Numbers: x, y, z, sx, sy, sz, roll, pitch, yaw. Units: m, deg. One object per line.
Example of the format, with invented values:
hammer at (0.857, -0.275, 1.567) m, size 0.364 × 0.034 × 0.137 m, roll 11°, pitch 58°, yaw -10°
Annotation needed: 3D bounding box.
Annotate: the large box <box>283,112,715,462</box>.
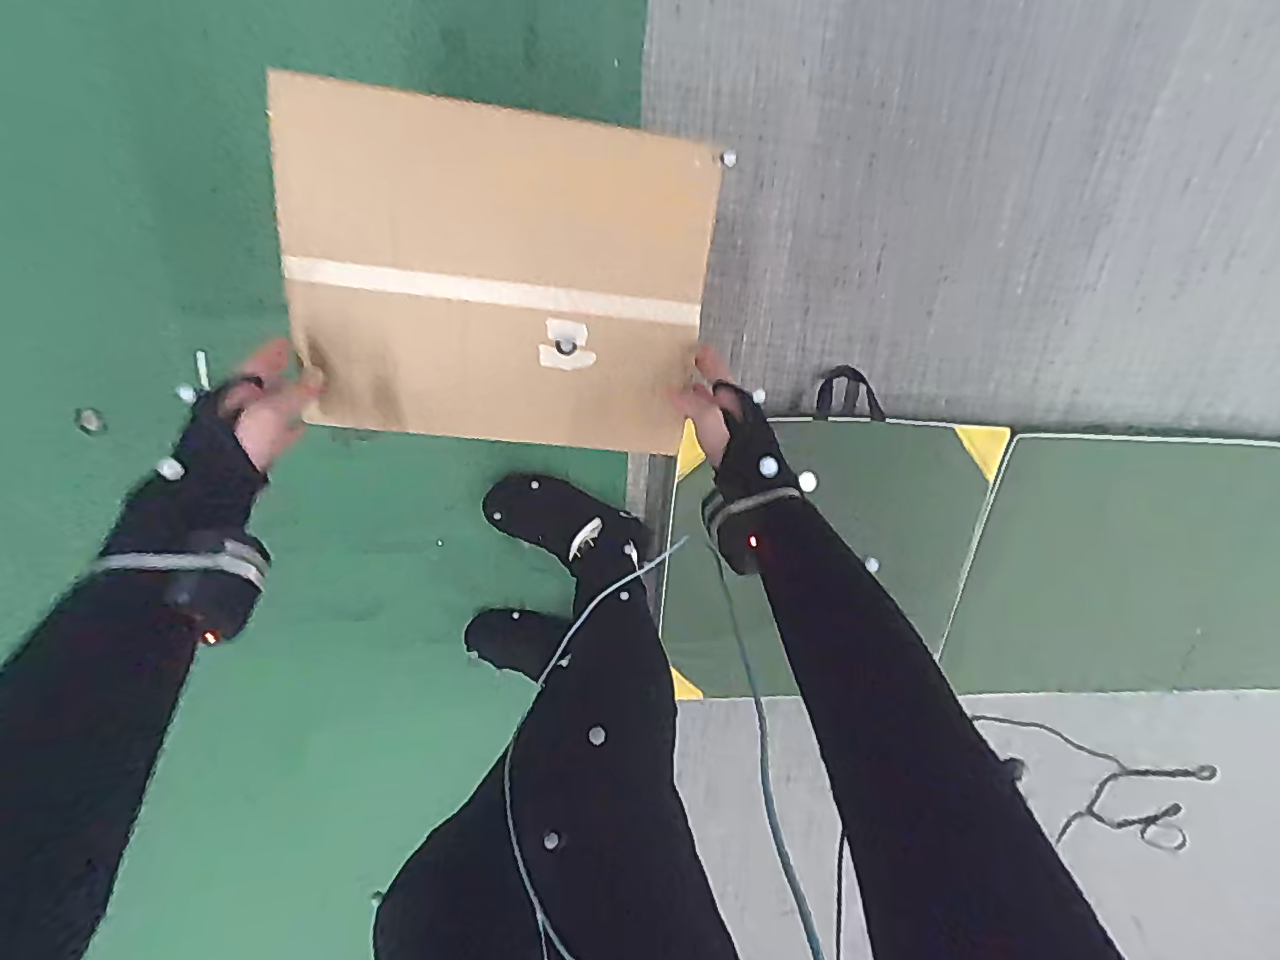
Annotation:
large box at (-0.154, -0.224, 0.693) m, size 0.408 × 0.320 × 0.320 m, roll 4°, pitch 111°, yaw -8°
